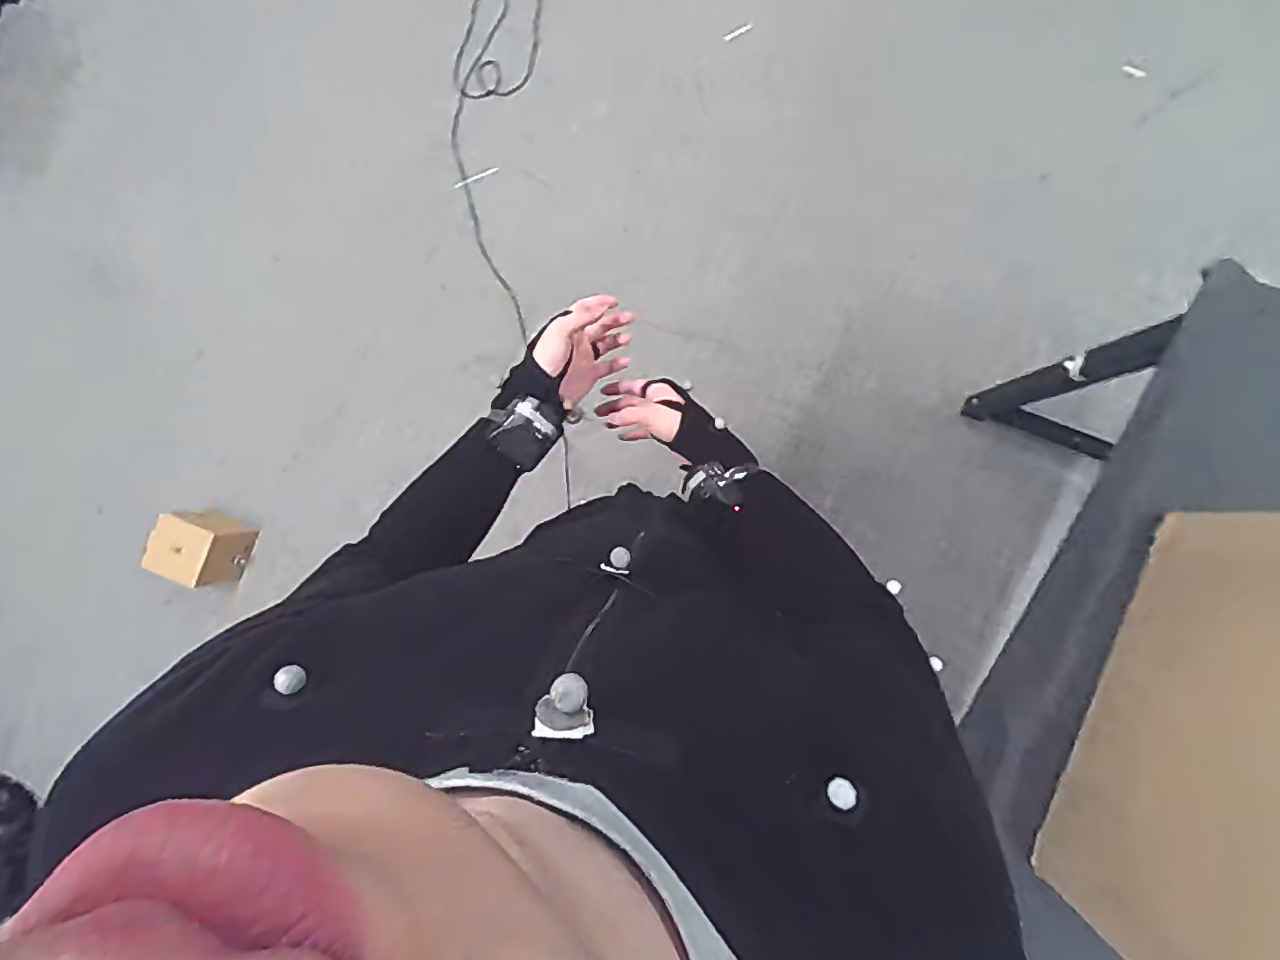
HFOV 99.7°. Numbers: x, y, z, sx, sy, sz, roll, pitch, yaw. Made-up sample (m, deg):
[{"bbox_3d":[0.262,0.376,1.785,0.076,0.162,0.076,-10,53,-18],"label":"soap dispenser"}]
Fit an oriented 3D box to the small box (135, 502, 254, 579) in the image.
[{"bbox_3d":[-1.280,0.168,1.564,0.179,0.176,0.168,21,91,3],"label":"small box"}]
